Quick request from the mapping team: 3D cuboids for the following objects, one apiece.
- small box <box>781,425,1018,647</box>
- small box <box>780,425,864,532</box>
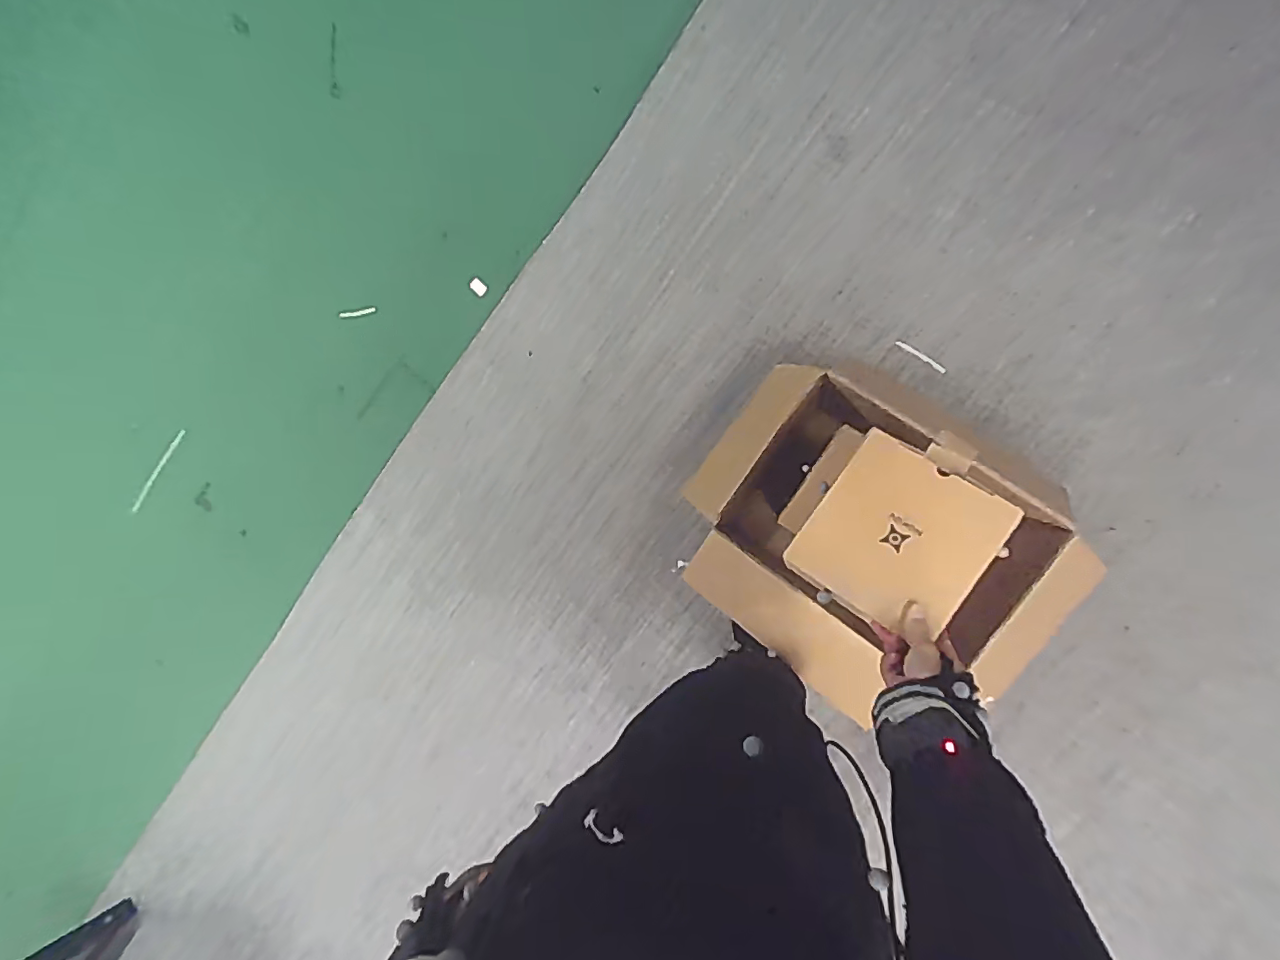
[{"bbox_3d":[0.285,0.071,0.630,0.168,0.176,0.179,35,88,21],"label":"small box"},{"bbox_3d":[0.334,0.036,0.851,0.168,0.176,0.179,35,98,13],"label":"small box"}]
